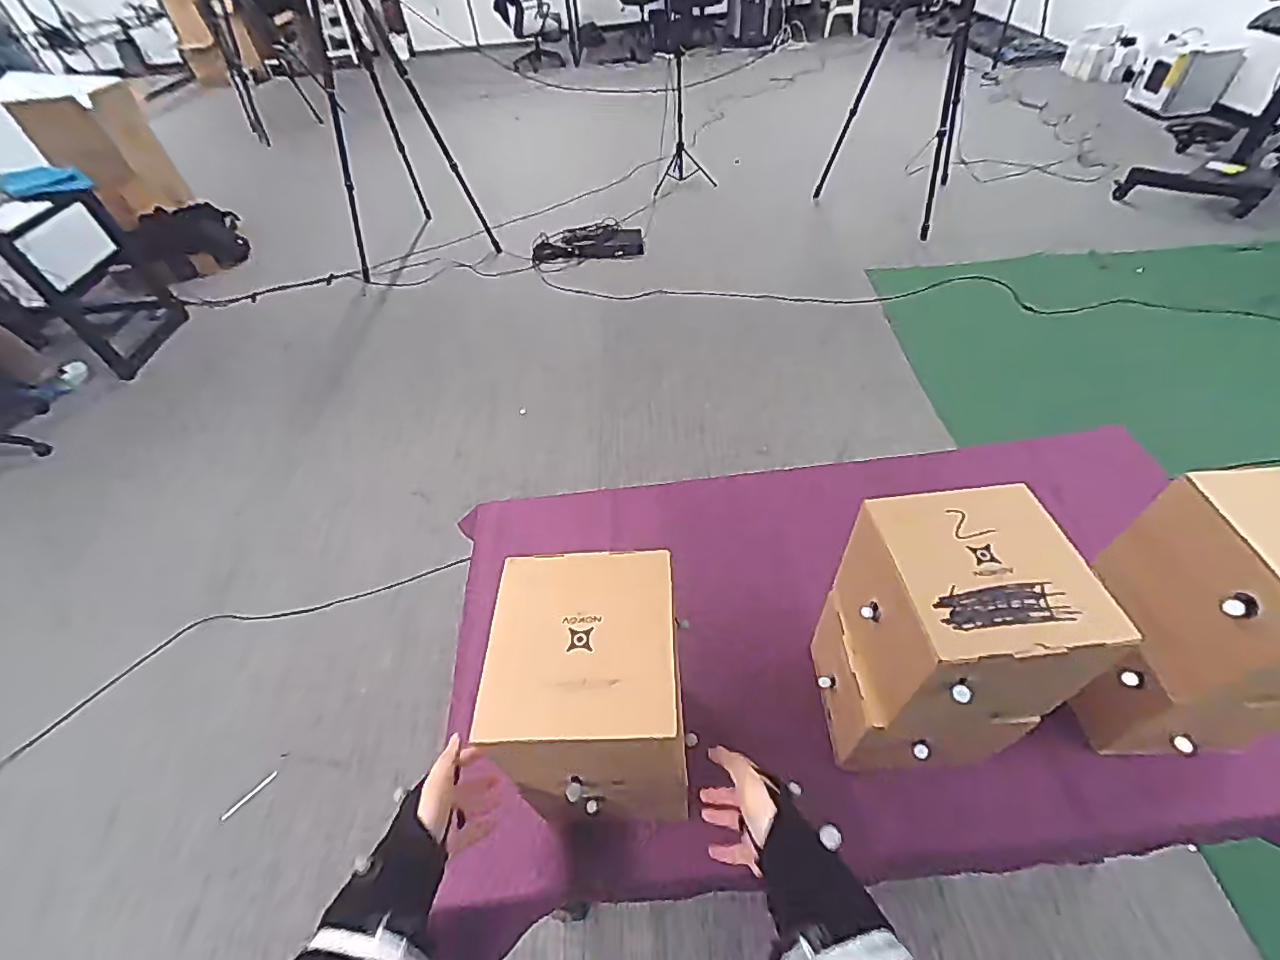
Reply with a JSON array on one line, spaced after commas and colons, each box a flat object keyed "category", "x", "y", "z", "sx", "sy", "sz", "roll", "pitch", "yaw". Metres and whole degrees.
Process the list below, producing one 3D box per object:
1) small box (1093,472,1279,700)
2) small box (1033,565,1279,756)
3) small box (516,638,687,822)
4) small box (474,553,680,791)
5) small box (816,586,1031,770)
[{"category": "small box", "x": 0.625, "y": 0.111, "z": 0.545, "sx": 0.168, "sy": 0.176, "sz": 0.179, "roll": -3, "pitch": 48, "yaw": 3}, {"category": "small box", "x": 0.636, "y": 0.222, "z": 0.667, "sx": 0.168, "sy": 0.176, "sz": 0.179, "roll": -3, "pitch": 48, "yaw": 4}, {"category": "small box", "x": -0.035, "y": 0.306, "z": 0.658, "sx": 0.179, "sy": 0.176, "sz": 0.168, "roll": -3, "pitch": 48, "yaw": 2}, {"category": "small box", "x": -0.045, "y": 0.192, "z": 0.541, "sx": 0.168, "sy": 0.176, "sz": 0.179, "roll": -3, "pitch": 48, "yaw": 4}, {"category": "small box", "x": 0.326, "y": 0.249, "z": 0.672, "sx": 0.179, "sy": 0.176, "sz": 0.168, "roll": -3, "pitch": 47, "yaw": 4}]
